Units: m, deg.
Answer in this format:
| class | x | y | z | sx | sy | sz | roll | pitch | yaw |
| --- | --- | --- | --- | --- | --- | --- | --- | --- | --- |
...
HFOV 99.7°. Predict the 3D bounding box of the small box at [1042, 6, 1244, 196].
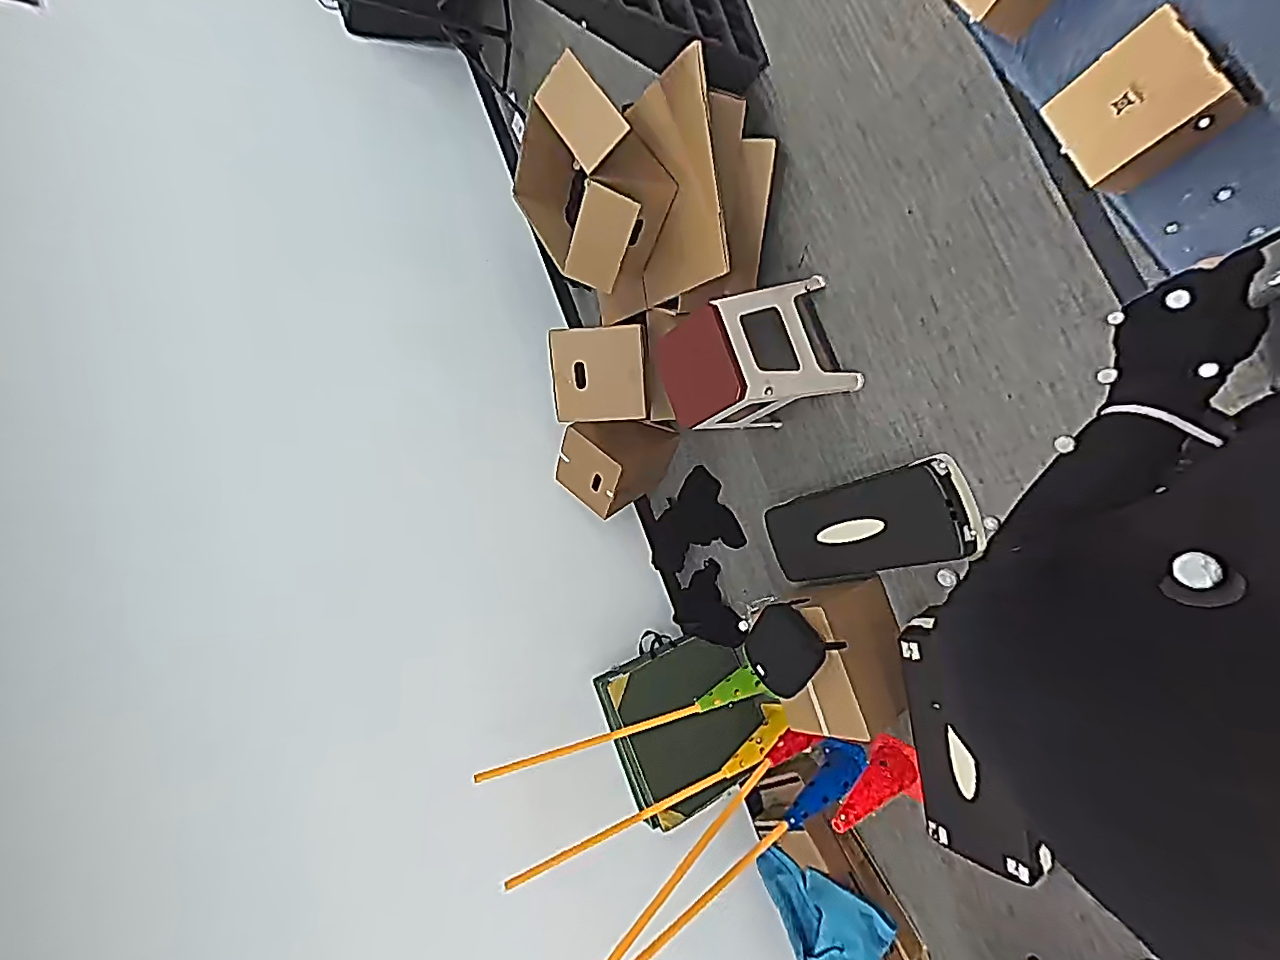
| class | x | y | z | sx | sy | sz | roll | pitch | yaw |
| --- | --- | --- | --- | --- | --- | --- | --- | --- | --- |
| small box | 0.809 | -0.591 | 0.873 | 0.179 | 0.176 | 0.168 | -36 | 72 | 51 |
